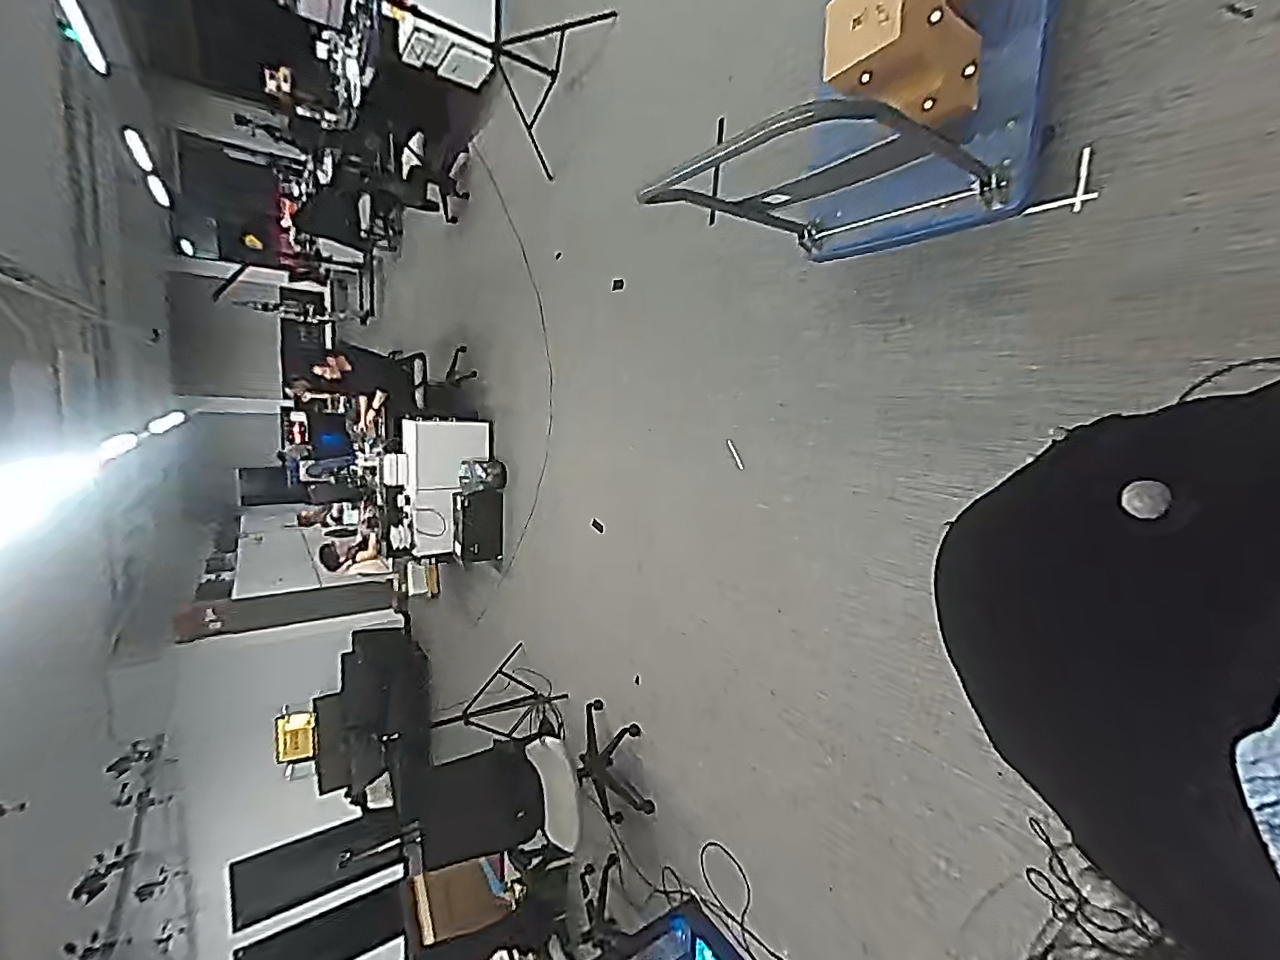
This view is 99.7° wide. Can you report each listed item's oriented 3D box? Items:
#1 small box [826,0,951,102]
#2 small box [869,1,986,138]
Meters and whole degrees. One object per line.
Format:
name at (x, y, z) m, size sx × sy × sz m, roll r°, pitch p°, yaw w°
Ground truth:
small box at (0.522, -0.944, 1.141) m, size 0.179 × 0.176 × 0.168 m, roll 8°, pitch 99°, yaw 54°
small box at (0.656, -0.924, 1.238) m, size 0.179 × 0.176 × 0.168 m, roll 7°, pitch 98°, yaw 54°
